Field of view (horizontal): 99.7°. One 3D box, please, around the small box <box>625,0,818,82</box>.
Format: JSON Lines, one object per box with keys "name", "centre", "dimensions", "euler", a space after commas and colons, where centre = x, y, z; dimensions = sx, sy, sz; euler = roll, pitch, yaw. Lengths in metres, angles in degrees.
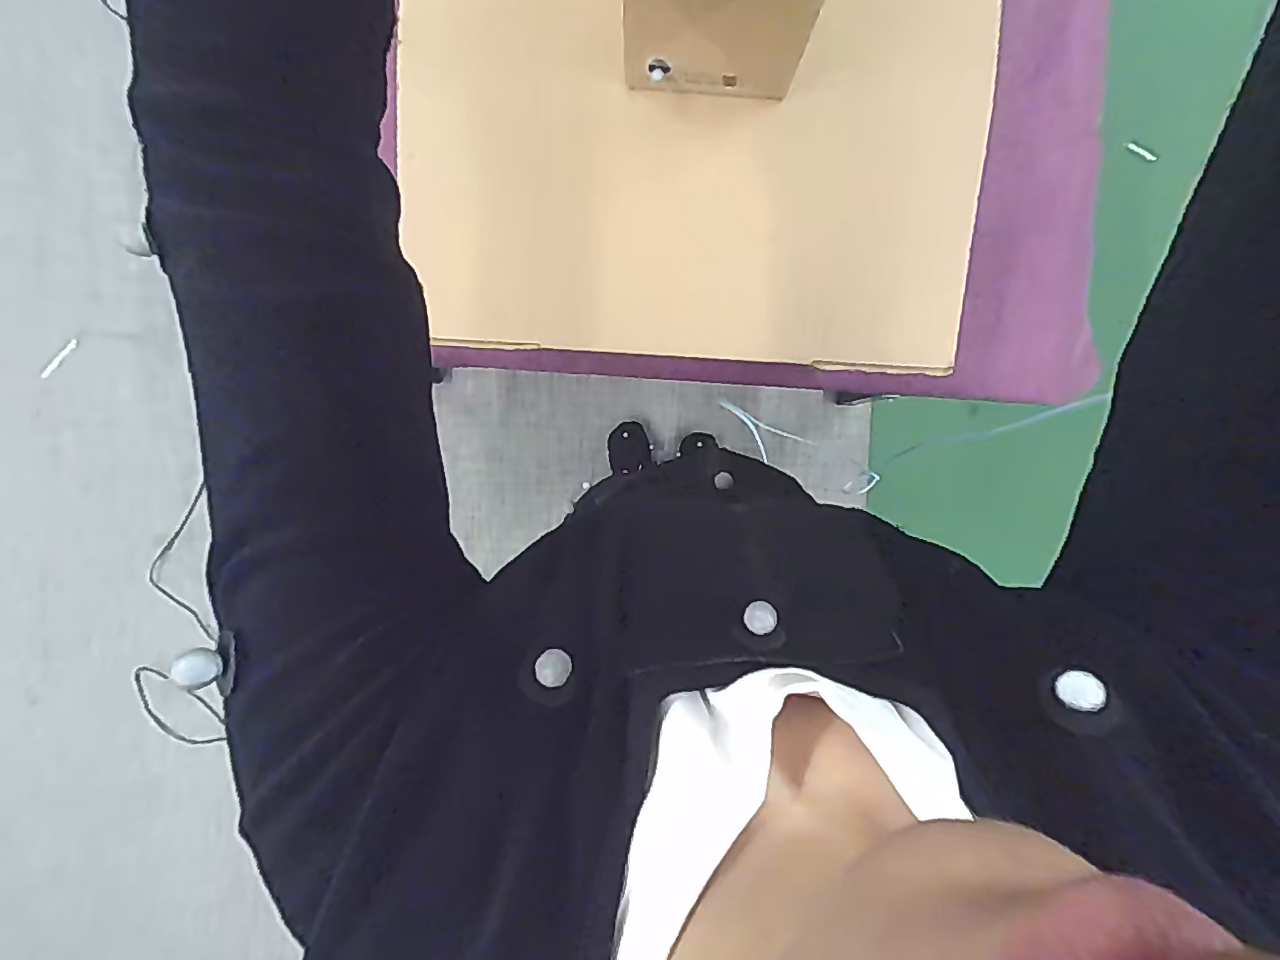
{"name": "small box", "centre": [0.071, -0.478, 0.458], "dimensions": [0.168, 0.176, 0.179], "euler": [1, 94, -1]}
